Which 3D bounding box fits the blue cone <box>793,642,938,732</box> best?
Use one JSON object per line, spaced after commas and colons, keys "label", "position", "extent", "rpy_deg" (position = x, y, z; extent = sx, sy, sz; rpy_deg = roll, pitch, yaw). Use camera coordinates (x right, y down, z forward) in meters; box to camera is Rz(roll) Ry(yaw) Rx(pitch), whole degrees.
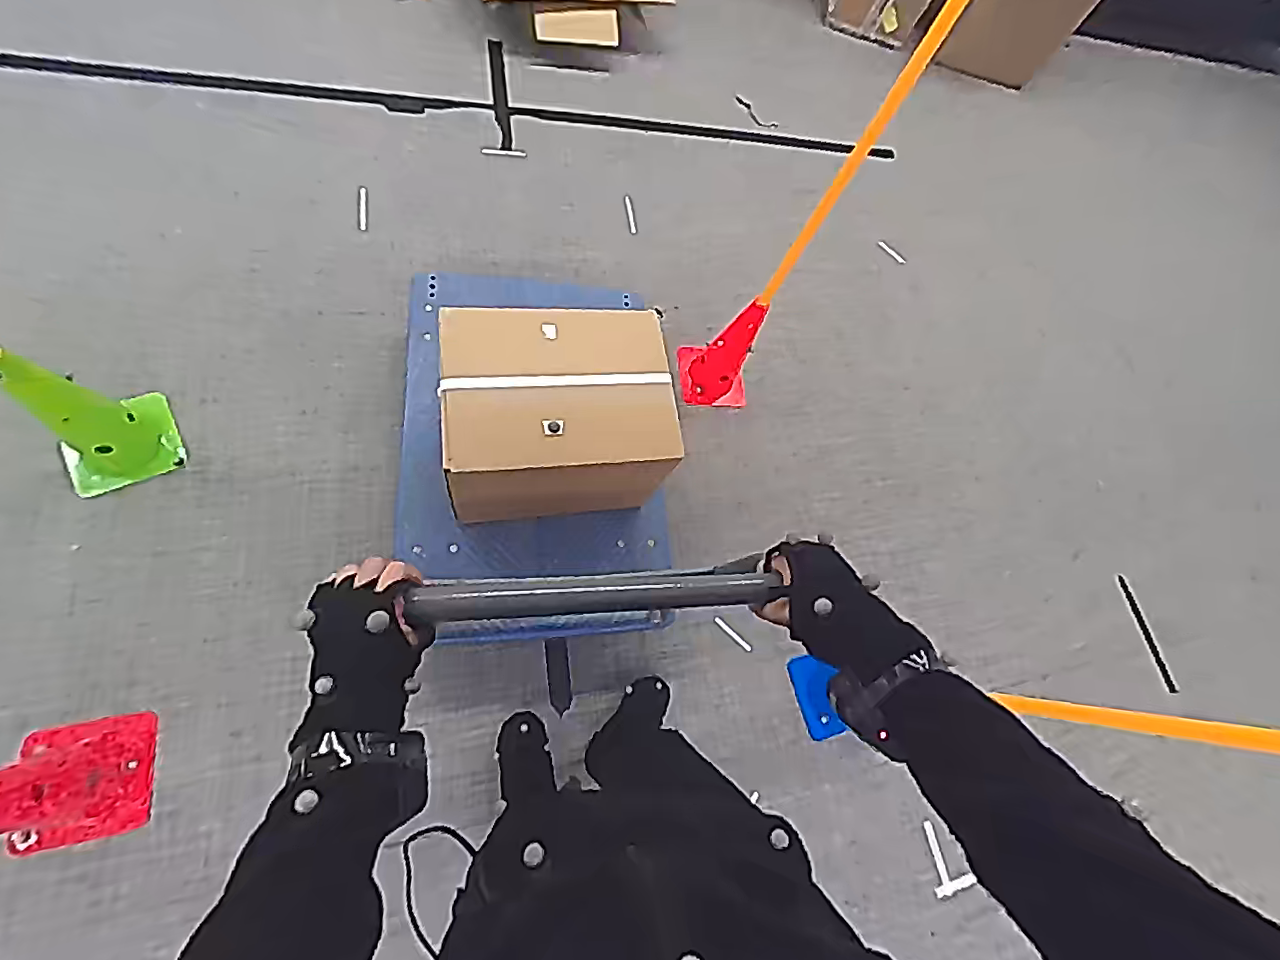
{"label": "blue cone", "position": [0.533, 0.467, 1.230], "extent": [0.193, 0.380, 0.192], "rpy_deg": [-8, 71, -18]}

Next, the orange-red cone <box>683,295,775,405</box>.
{"label": "orange-red cone", "position": [0.268, -0.373, 1.461], "extent": [0.199, 0.360, 0.198], "rpy_deg": [2, 70, -15]}
